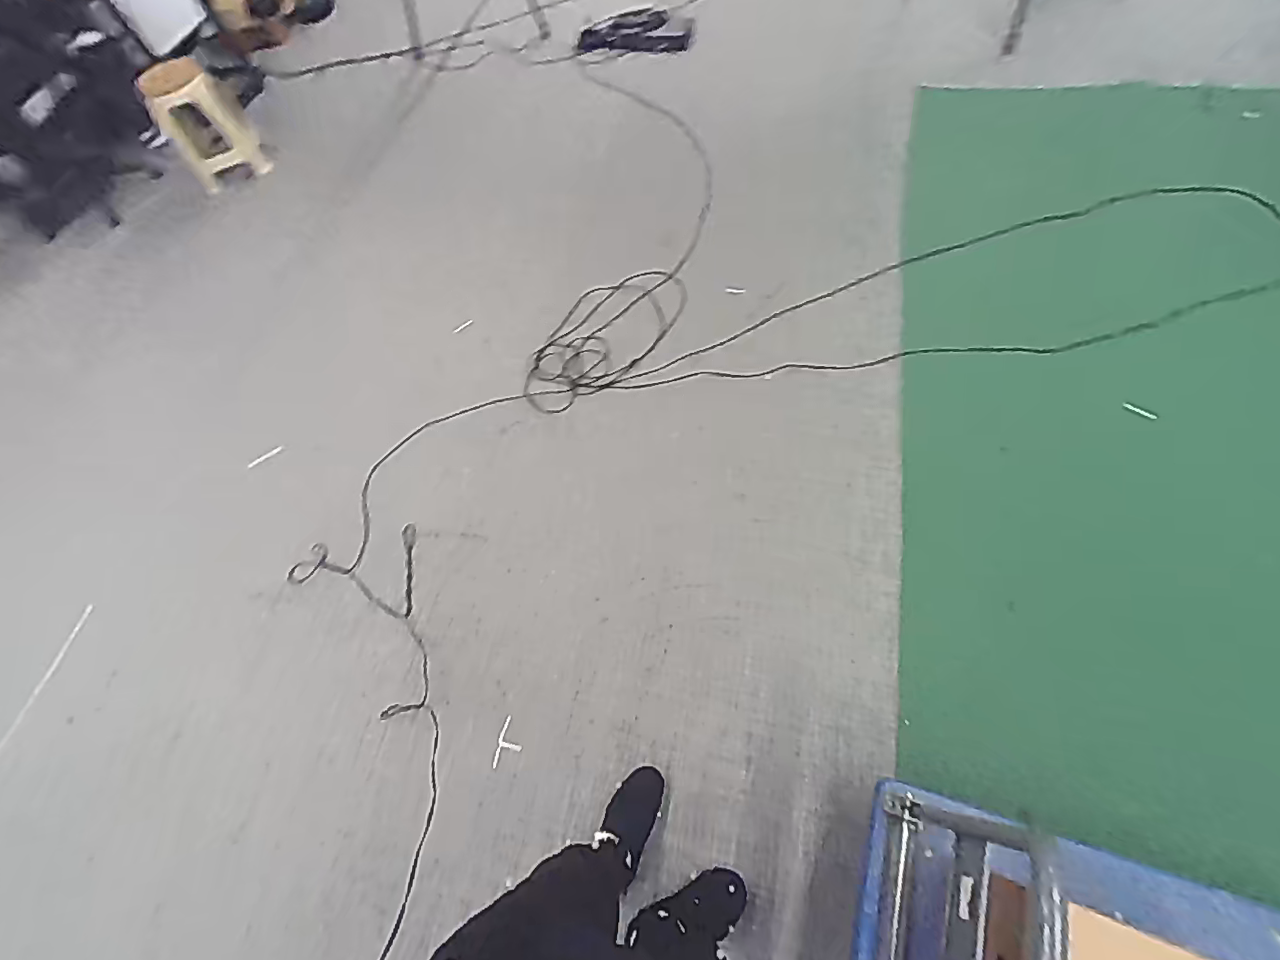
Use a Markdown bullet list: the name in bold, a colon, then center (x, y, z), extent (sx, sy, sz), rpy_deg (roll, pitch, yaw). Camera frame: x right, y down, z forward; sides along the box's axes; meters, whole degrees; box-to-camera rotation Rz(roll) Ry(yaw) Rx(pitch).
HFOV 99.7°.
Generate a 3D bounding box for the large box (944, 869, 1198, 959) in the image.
- **large box**: center (0.732, 0.871, 0.827), extent (0.408, 0.320, 0.320), rpy_deg (17, 66, 14)
